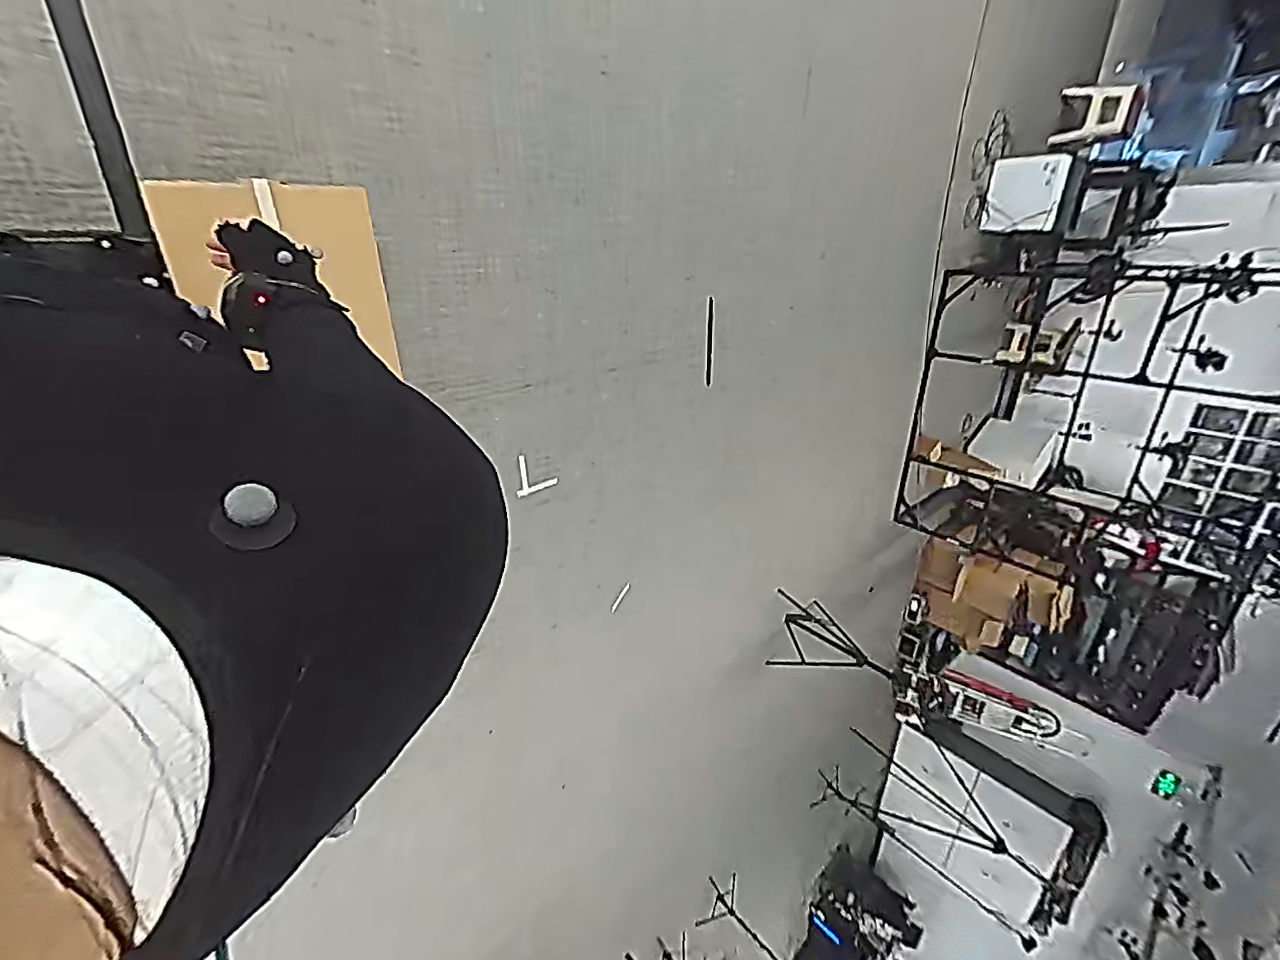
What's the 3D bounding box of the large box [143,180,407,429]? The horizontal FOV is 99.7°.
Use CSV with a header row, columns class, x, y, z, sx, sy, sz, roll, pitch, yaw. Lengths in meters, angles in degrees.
class,x,y,z,sx,sy,sz,roll,pitch,yaw
large box,-0.698,-0.359,1.072,0.320,0.320,0.408,-16,120,-31
